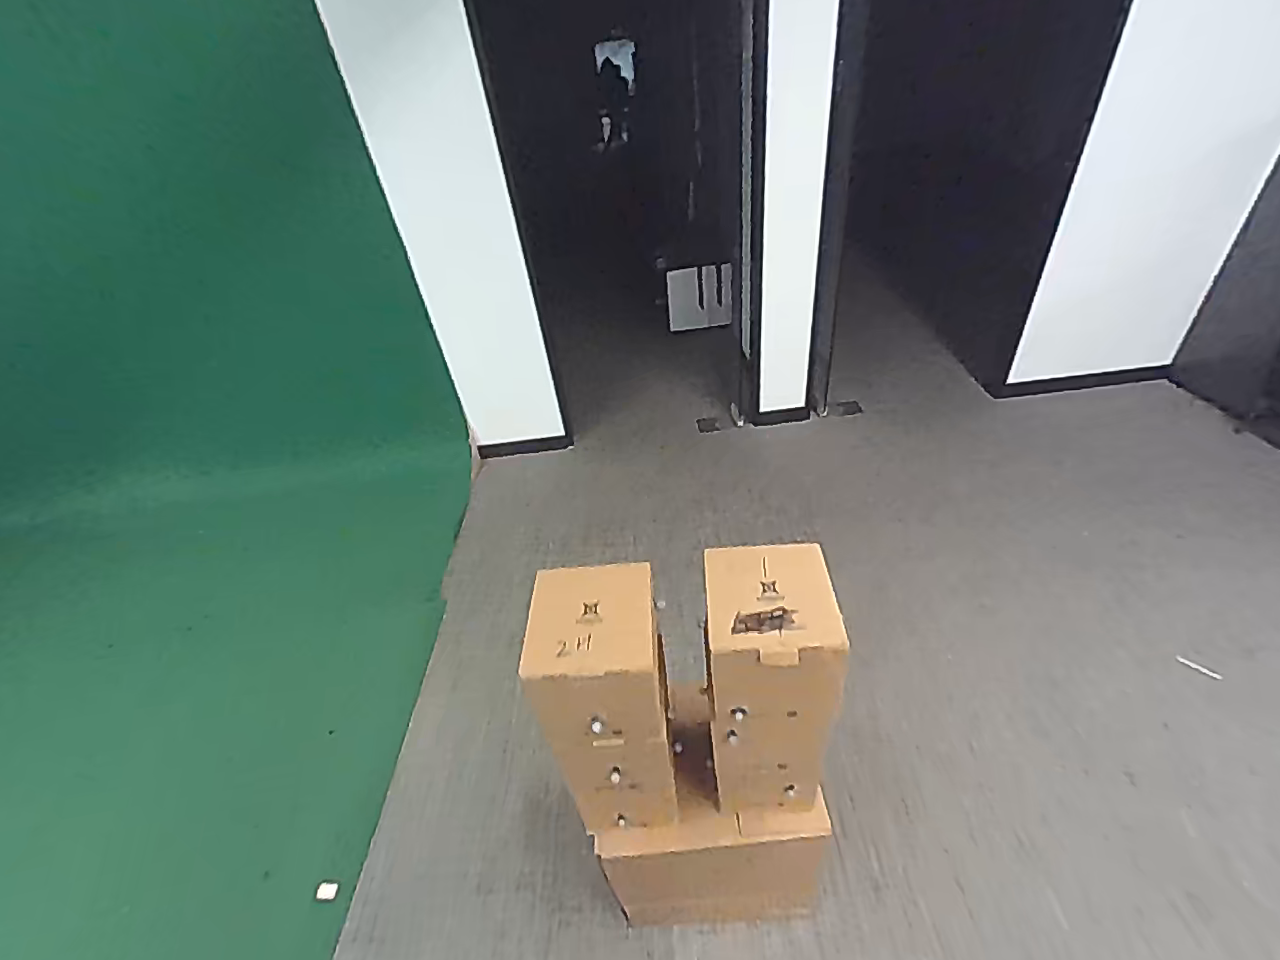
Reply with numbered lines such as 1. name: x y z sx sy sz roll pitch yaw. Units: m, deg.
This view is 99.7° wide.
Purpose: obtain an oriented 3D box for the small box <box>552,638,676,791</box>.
1. small box: -0.033 0.375 0.860 0.168 0.176 0.179 -5 39 3

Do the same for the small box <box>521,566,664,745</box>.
1. small box: -0.055 0.245 0.760 0.168 0.176 0.179 -5 39 4

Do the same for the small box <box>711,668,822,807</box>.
1. small box: 0.220 0.462 0.963 0.168 0.176 0.179 -5 37 6

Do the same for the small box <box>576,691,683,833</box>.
1. small box: -0.015 0.499 0.966 0.168 0.176 0.179 -6 39 2
